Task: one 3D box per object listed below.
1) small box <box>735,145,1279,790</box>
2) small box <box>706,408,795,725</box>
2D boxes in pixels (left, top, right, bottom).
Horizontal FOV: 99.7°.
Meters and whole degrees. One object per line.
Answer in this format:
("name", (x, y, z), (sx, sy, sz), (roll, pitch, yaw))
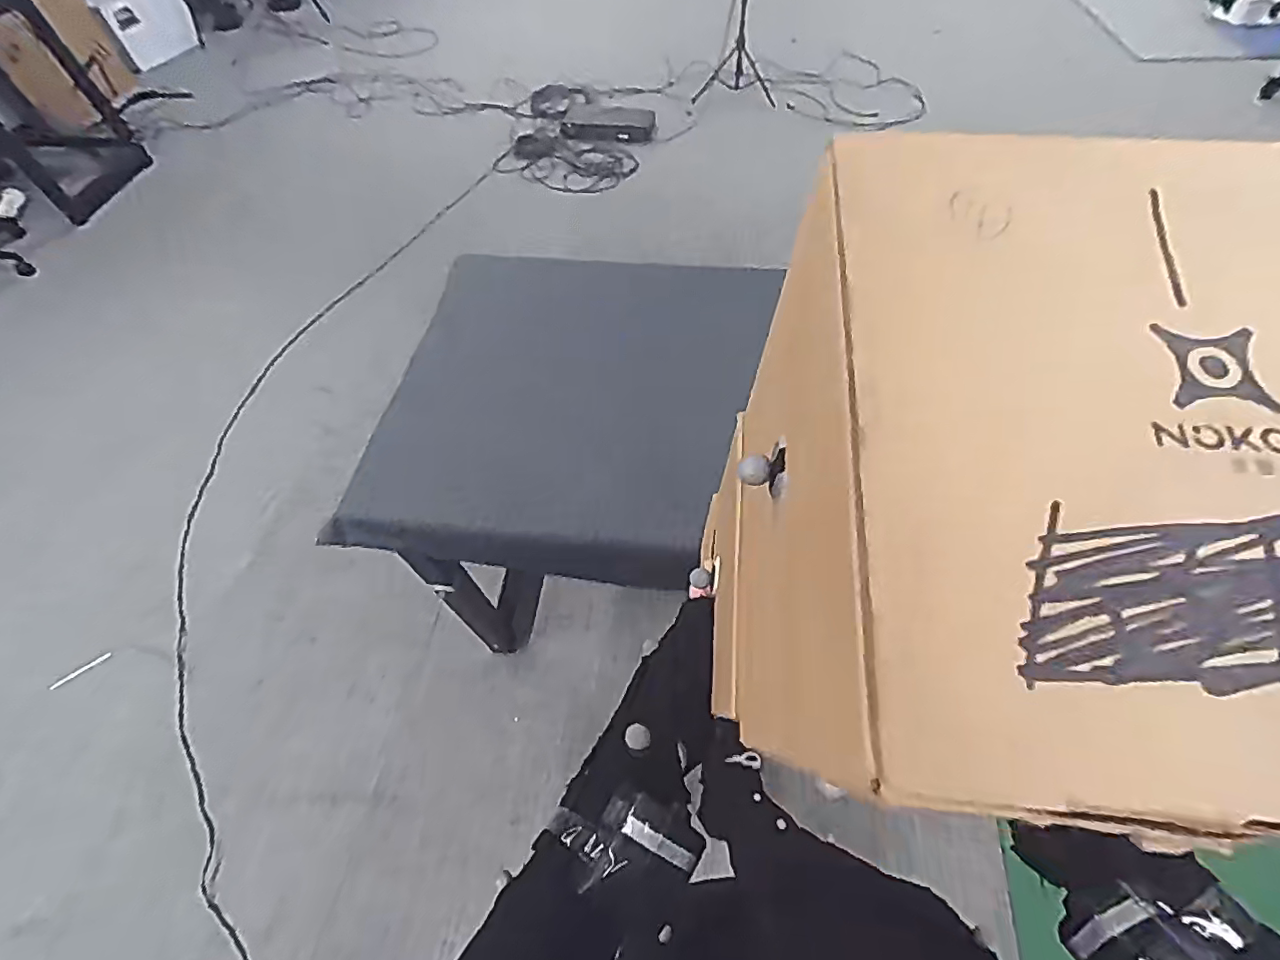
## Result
("small box", (0.132, 0.009, 0.209), (0.168, 0.176, 0.179), (4, 67, 3))
("small box", (0.139, 0.065, 0.347), (0.179, 0.176, 0.168), (1, 68, 2))
